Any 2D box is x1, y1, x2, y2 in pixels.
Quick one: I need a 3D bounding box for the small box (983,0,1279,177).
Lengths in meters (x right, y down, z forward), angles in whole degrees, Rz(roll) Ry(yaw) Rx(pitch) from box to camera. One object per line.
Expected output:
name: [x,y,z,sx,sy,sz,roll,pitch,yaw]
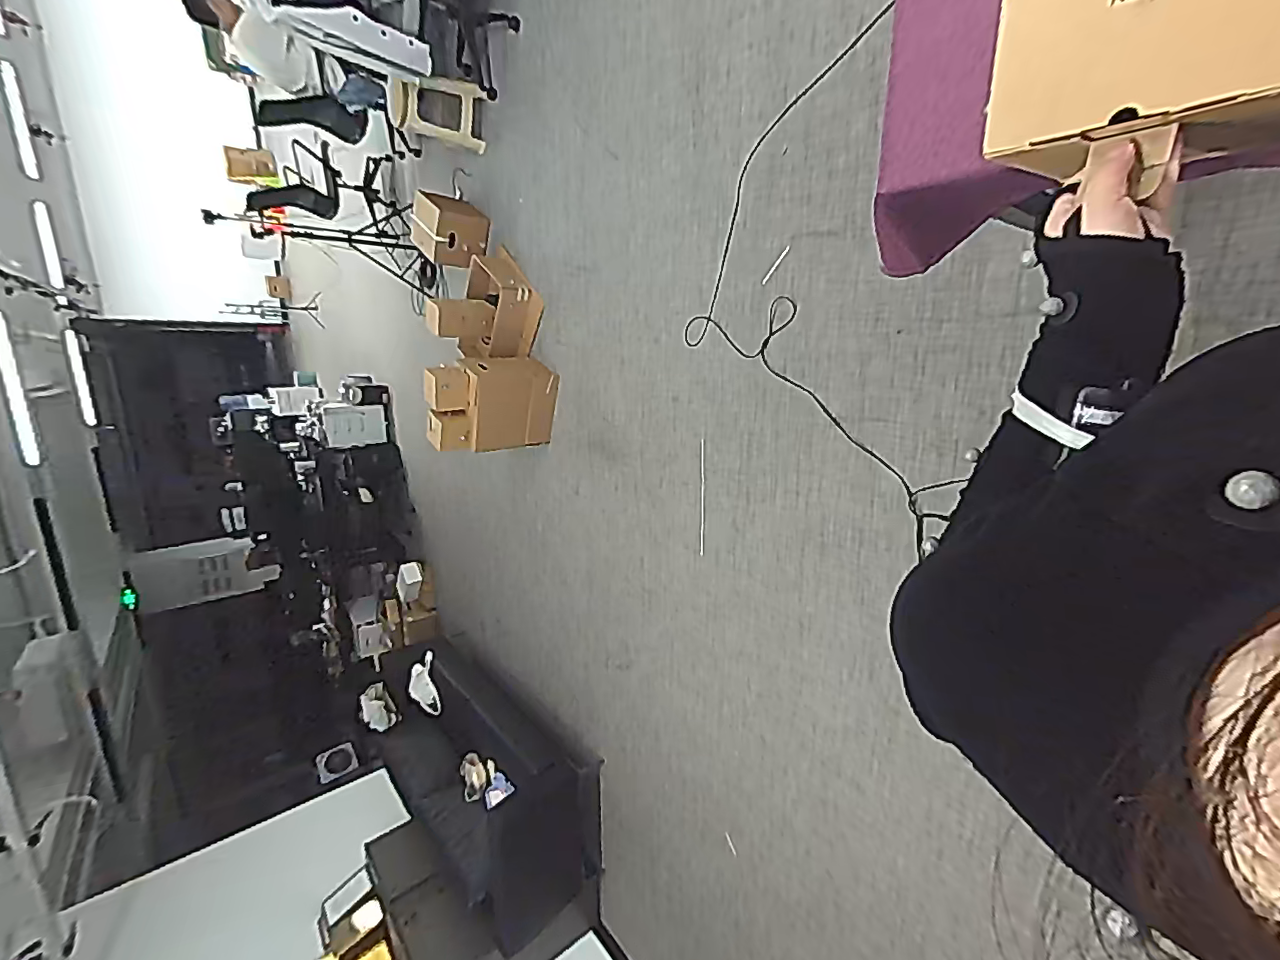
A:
small box: [0.378,-0.334,0.381,0.168,0.176,0.179,20,119,50]
